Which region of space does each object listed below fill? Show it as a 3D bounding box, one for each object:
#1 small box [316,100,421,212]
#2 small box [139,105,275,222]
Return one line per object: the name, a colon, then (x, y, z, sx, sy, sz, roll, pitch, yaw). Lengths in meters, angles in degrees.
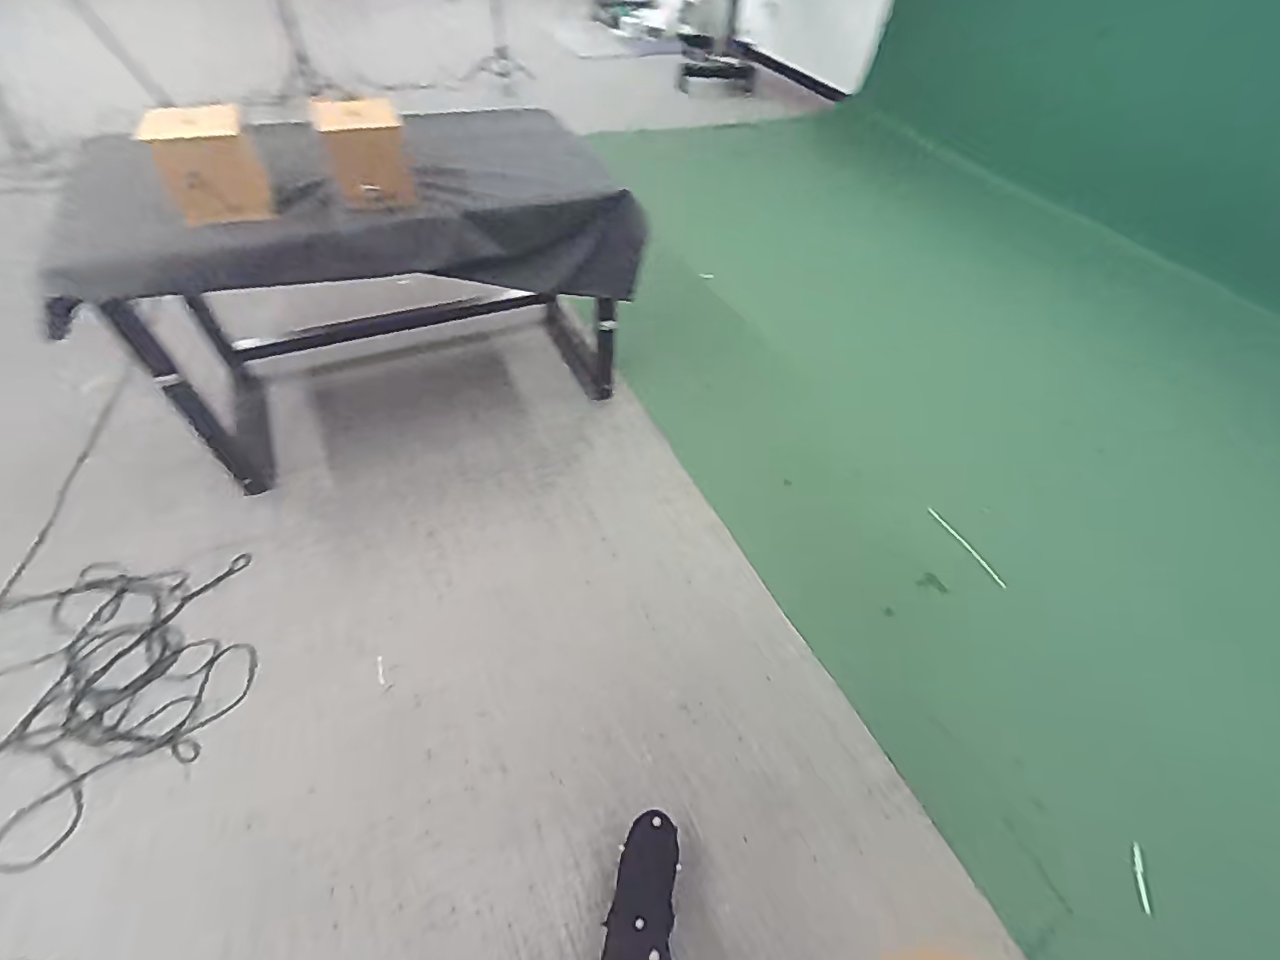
small box: (-0.611, -0.733, 1.225, 0.168, 0.176, 0.179, -17, 55, -18)
small box: (-0.892, -0.657, 1.133, 0.168, 0.176, 0.179, -16, 53, -18)
